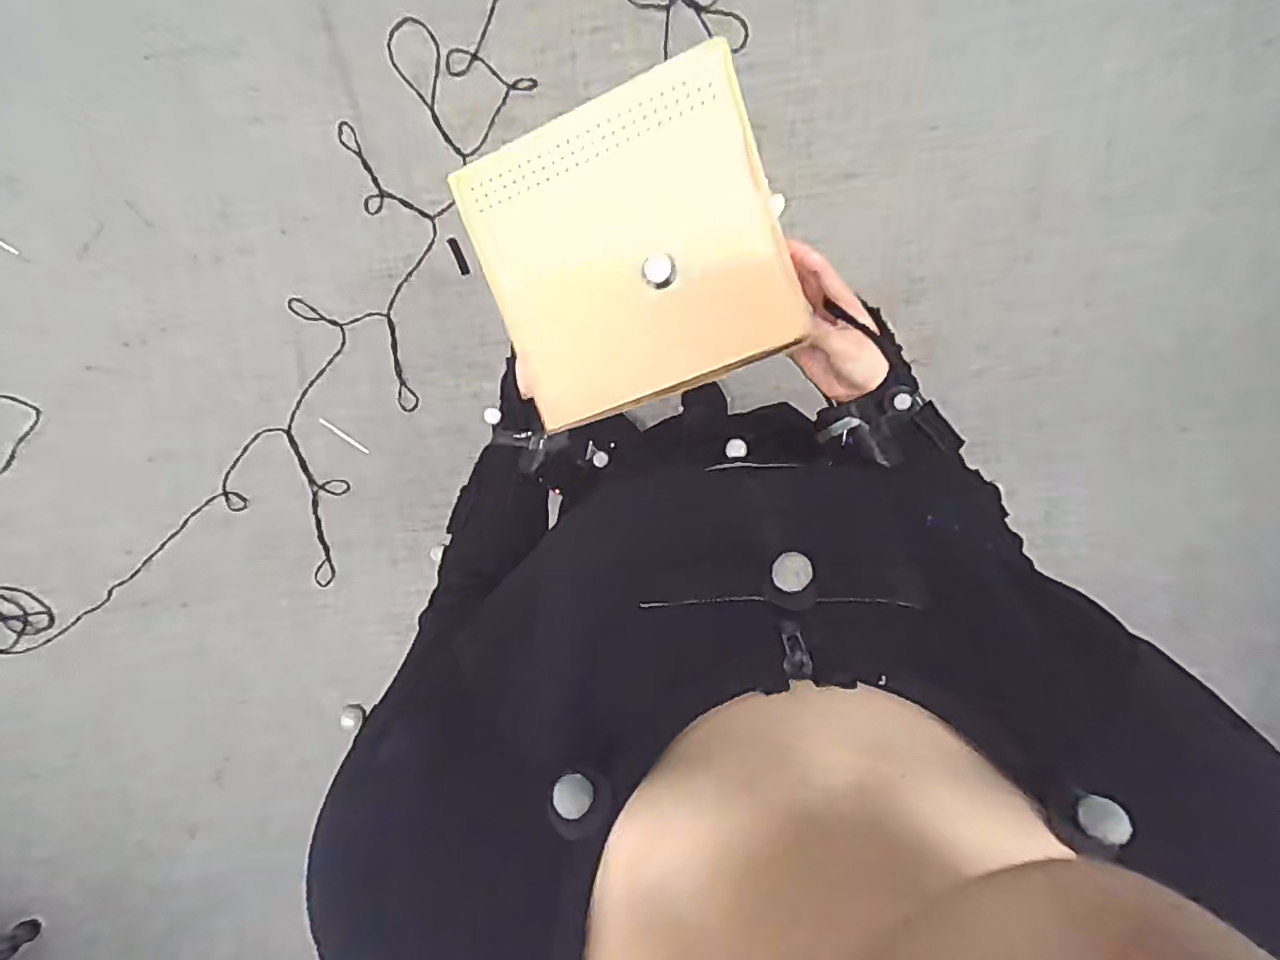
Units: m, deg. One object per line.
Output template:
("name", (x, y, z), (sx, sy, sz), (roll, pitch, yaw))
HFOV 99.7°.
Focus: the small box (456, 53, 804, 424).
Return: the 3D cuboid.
("small box", (0.002, -0.157, 0.397), (0.179, 0.168, 0.176), (-18, 99, 14))
